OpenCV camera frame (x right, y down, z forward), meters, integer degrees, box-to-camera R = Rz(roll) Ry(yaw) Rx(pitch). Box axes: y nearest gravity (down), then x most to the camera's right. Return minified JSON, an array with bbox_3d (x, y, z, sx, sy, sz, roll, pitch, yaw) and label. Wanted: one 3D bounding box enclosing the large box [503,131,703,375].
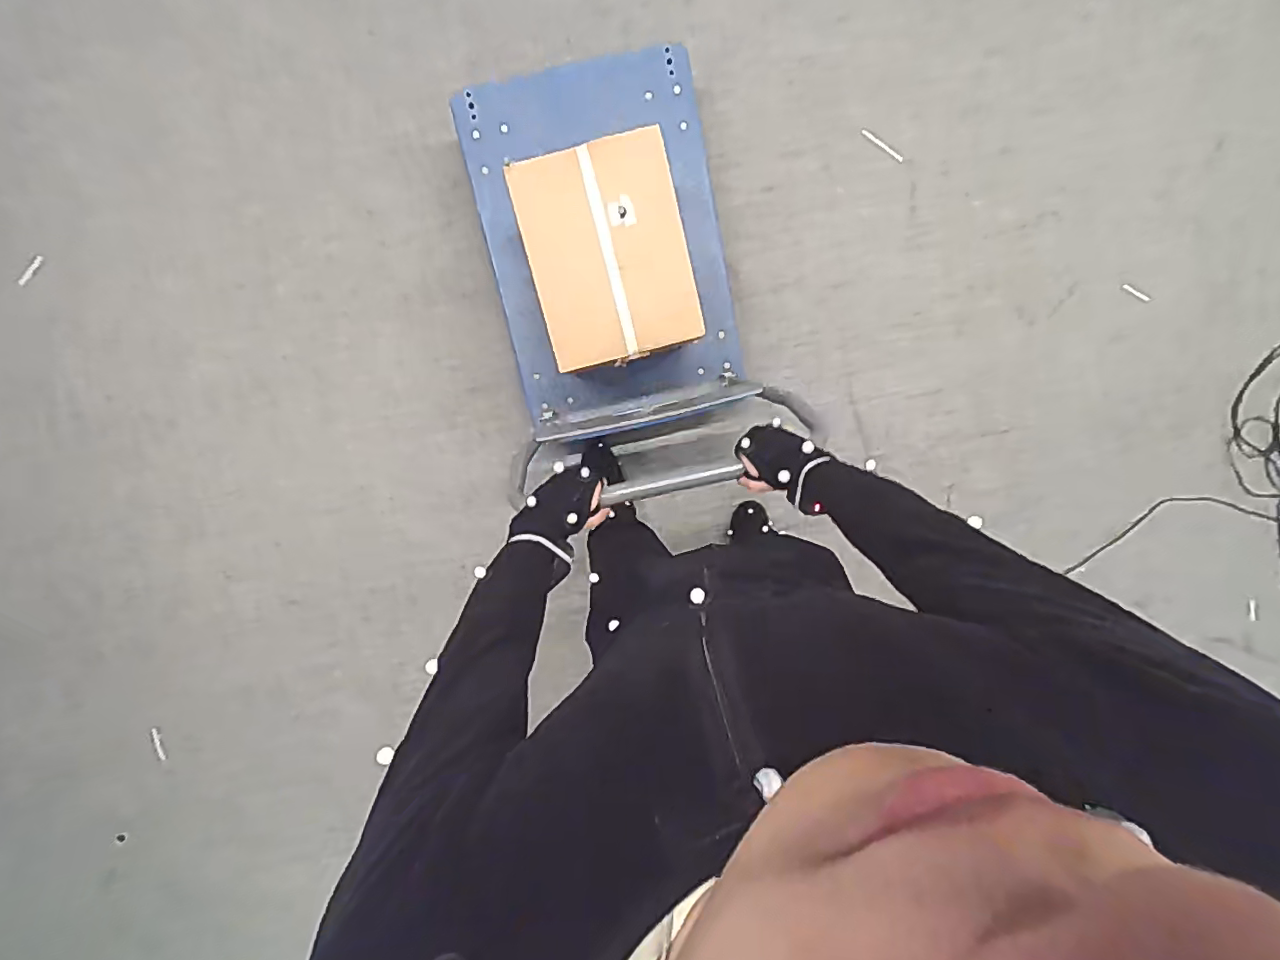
[{"bbox_3d":[-0.069,-0.474,1.224,0.320,0.320,0.408,-15,102,1],"label":"large box"}]
